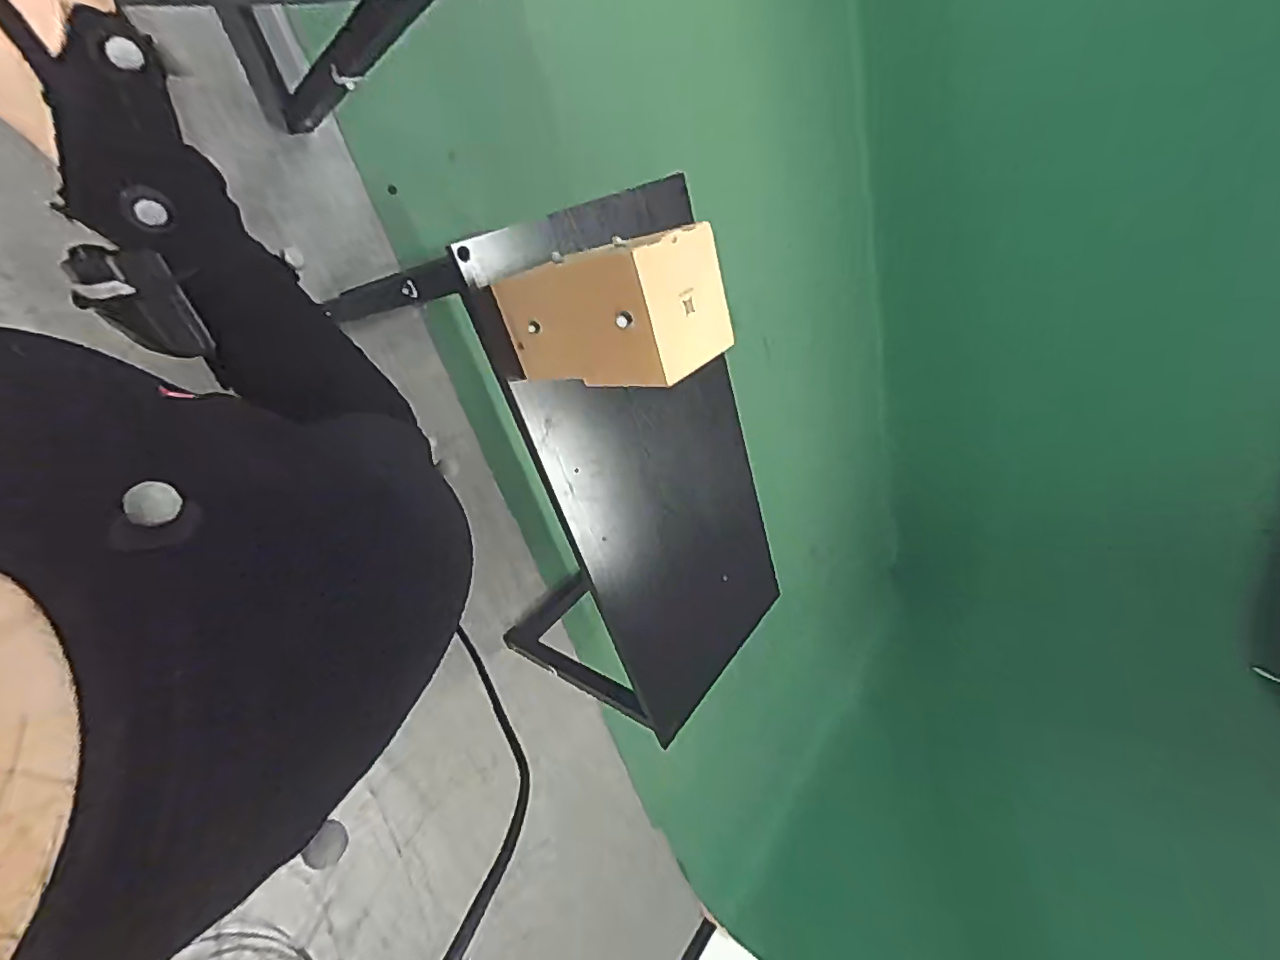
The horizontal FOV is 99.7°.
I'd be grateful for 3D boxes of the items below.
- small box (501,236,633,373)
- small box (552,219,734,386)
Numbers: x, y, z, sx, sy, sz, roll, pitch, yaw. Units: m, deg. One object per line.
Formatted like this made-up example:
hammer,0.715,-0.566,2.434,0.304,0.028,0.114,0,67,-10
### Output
small box,-0.103,-0.281,0.884,0.179,0.176,0.168,-38,124,-36
small box,0.006,-0.247,0.767,0.168,0.176,0.179,-38,123,-35
